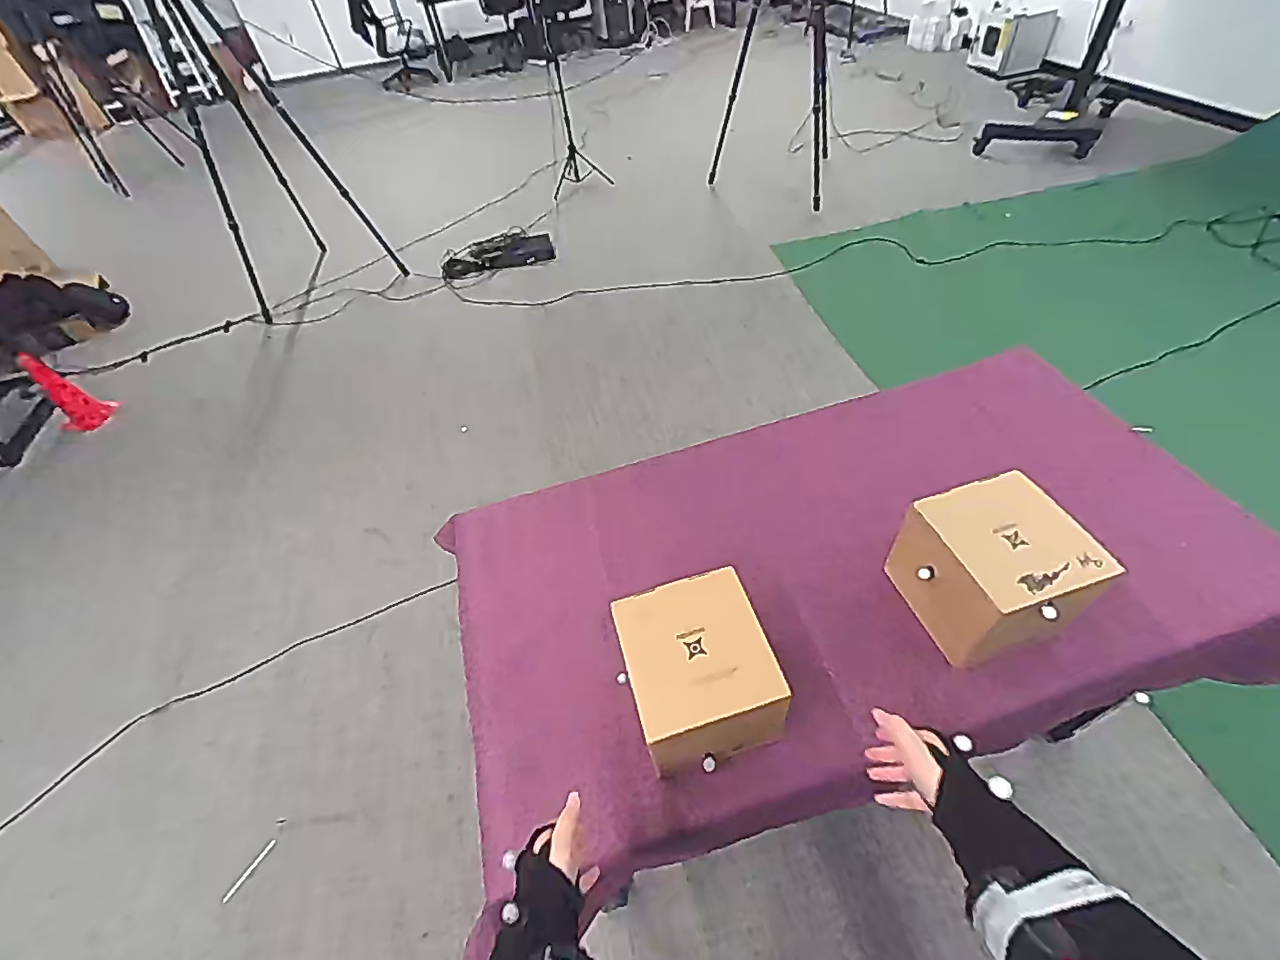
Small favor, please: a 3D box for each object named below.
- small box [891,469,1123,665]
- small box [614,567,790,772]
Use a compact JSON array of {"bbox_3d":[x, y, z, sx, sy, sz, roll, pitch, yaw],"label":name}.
[{"bbox_3d":[0.472,0.119,0.735,0.168,0.176,0.179,-17,49,-5],"label":"small box"},{"bbox_3d":[0.073,0.244,0.693,0.168,0.176,0.179,-16,50,-4],"label":"small box"}]
